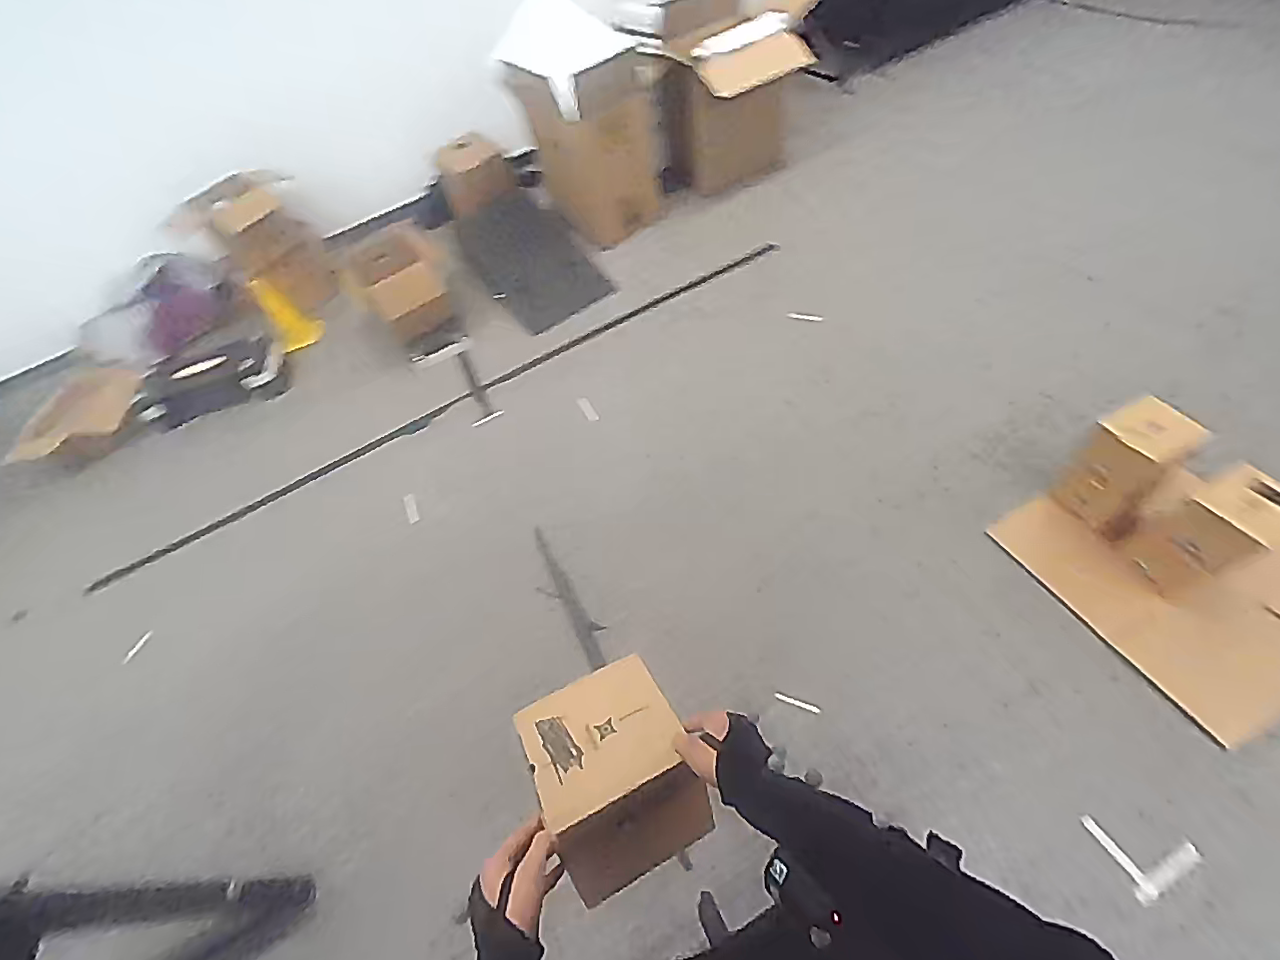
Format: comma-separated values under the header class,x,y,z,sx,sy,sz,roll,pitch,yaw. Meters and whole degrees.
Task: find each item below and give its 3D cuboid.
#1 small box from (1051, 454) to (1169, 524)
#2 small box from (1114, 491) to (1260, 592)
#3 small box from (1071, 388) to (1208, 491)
class,x,y,z,sx,sy,sz,roll,pitch,yaw
small box,1.329,-0.001,1.551,0.179,0.176,0.168,-27,54,-5
small box,1.414,0.164,1.416,0.179,0.176,0.168,-26,54,-5
small box,1.300,-0.104,1.425,0.179,0.176,0.168,-26,53,-5
